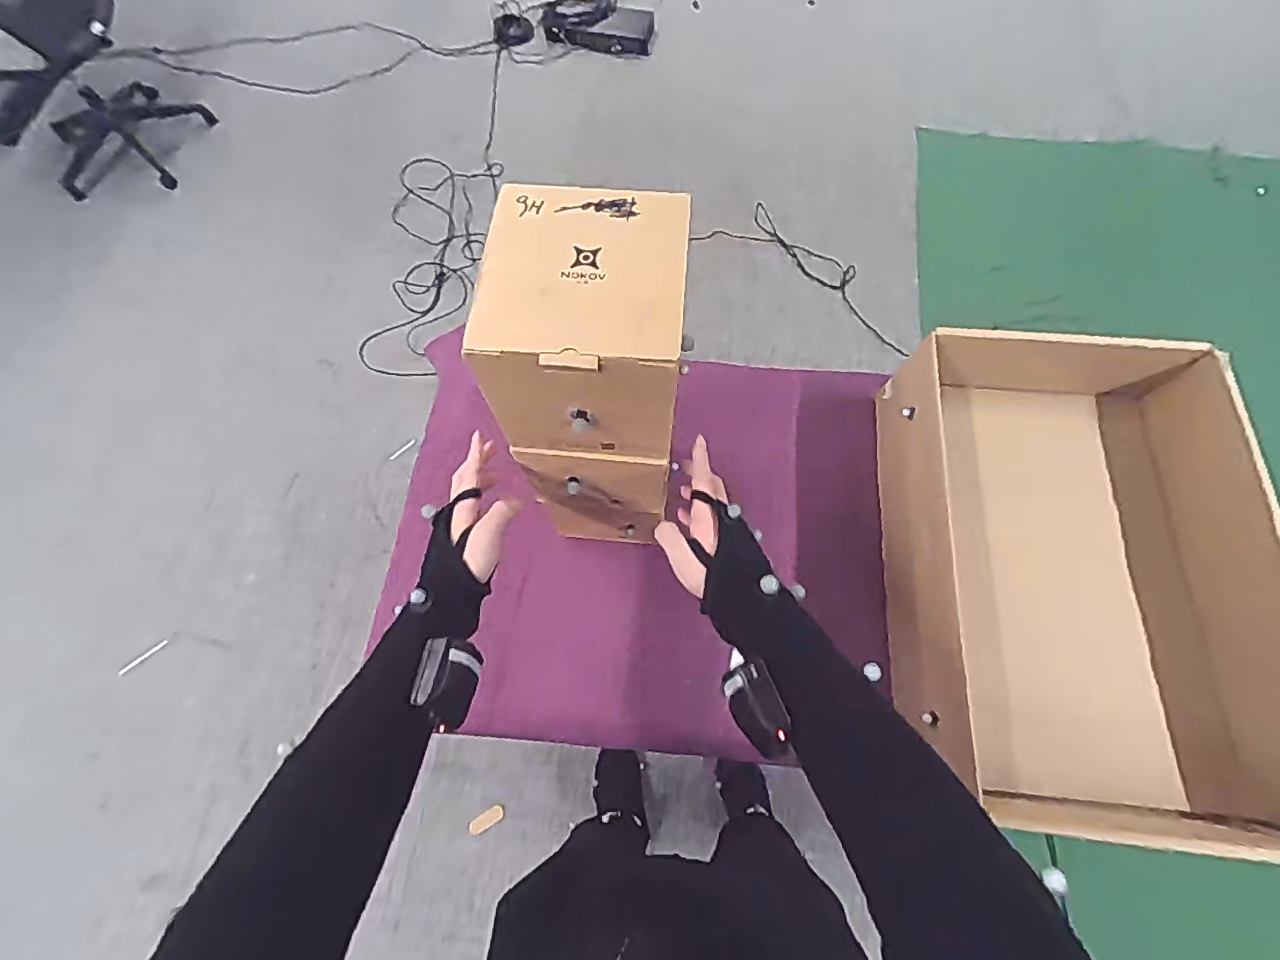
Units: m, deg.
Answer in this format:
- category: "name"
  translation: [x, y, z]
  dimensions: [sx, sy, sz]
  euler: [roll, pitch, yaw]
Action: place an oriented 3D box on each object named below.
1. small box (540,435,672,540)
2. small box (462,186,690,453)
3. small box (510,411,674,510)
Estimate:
- category: "small box"
  translation: [-0.040, -0.017, 0.809]
  dimensions: [0.168, 0.176, 0.179]
  euler: [6, 69, 3]
- category: "small box"
  translation: [-0.045, -0.137, 0.506]
  dimensions: [0.168, 0.176, 0.179]
  euler: [5, 69, 2]
- category: "small box"
  translation: [-0.044, -0.073, 0.657]
  dimensions: [0.168, 0.176, 0.179]
  euler: [5, 69, 3]
